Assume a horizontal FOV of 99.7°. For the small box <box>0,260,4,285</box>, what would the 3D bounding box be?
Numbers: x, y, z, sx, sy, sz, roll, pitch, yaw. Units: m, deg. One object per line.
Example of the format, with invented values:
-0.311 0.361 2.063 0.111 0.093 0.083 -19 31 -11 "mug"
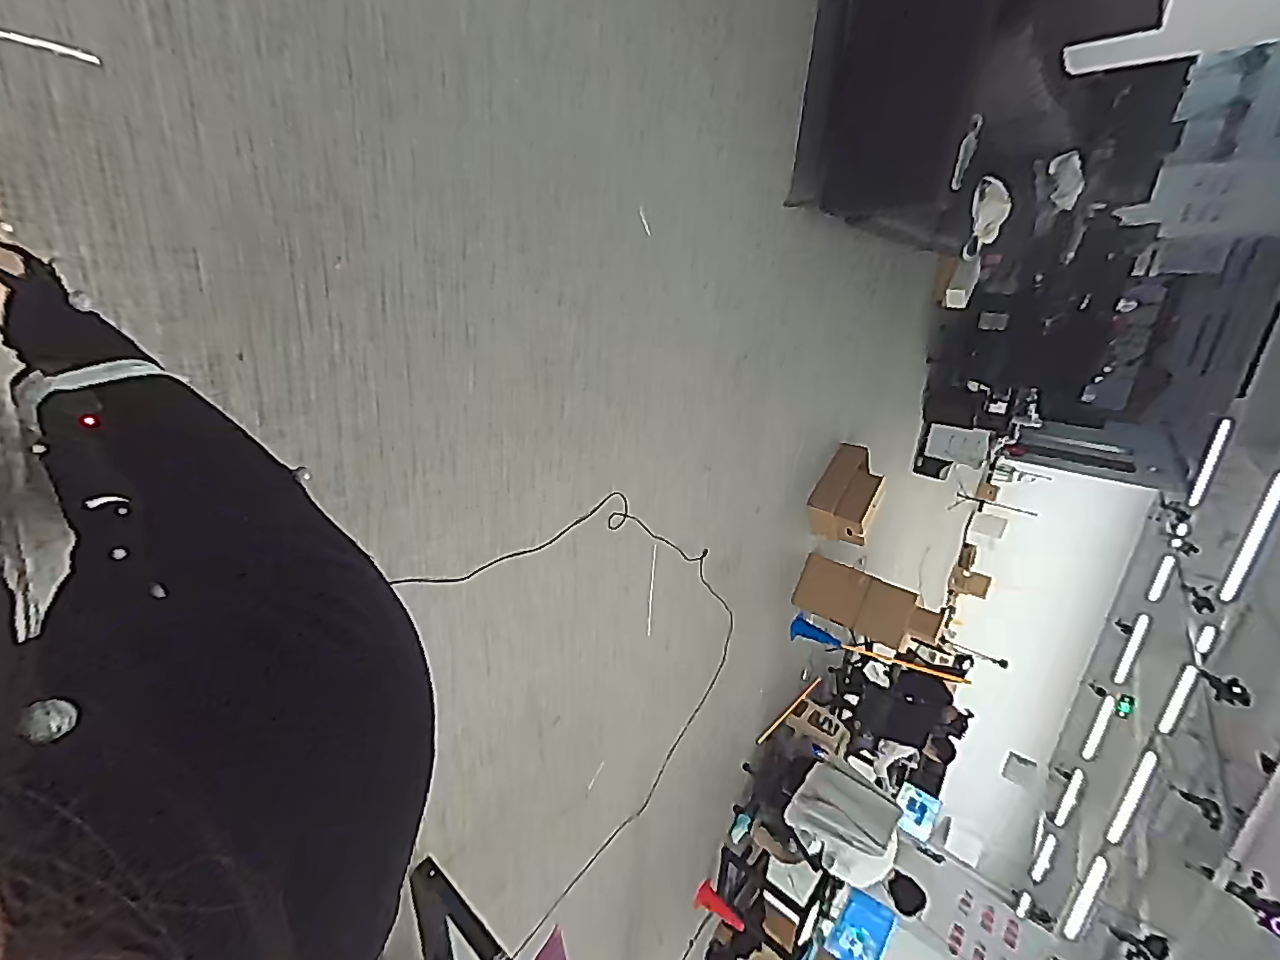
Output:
-0.612 -0.250 0.396 0.168 0.176 0.179 -13 120 -46 "small box"
